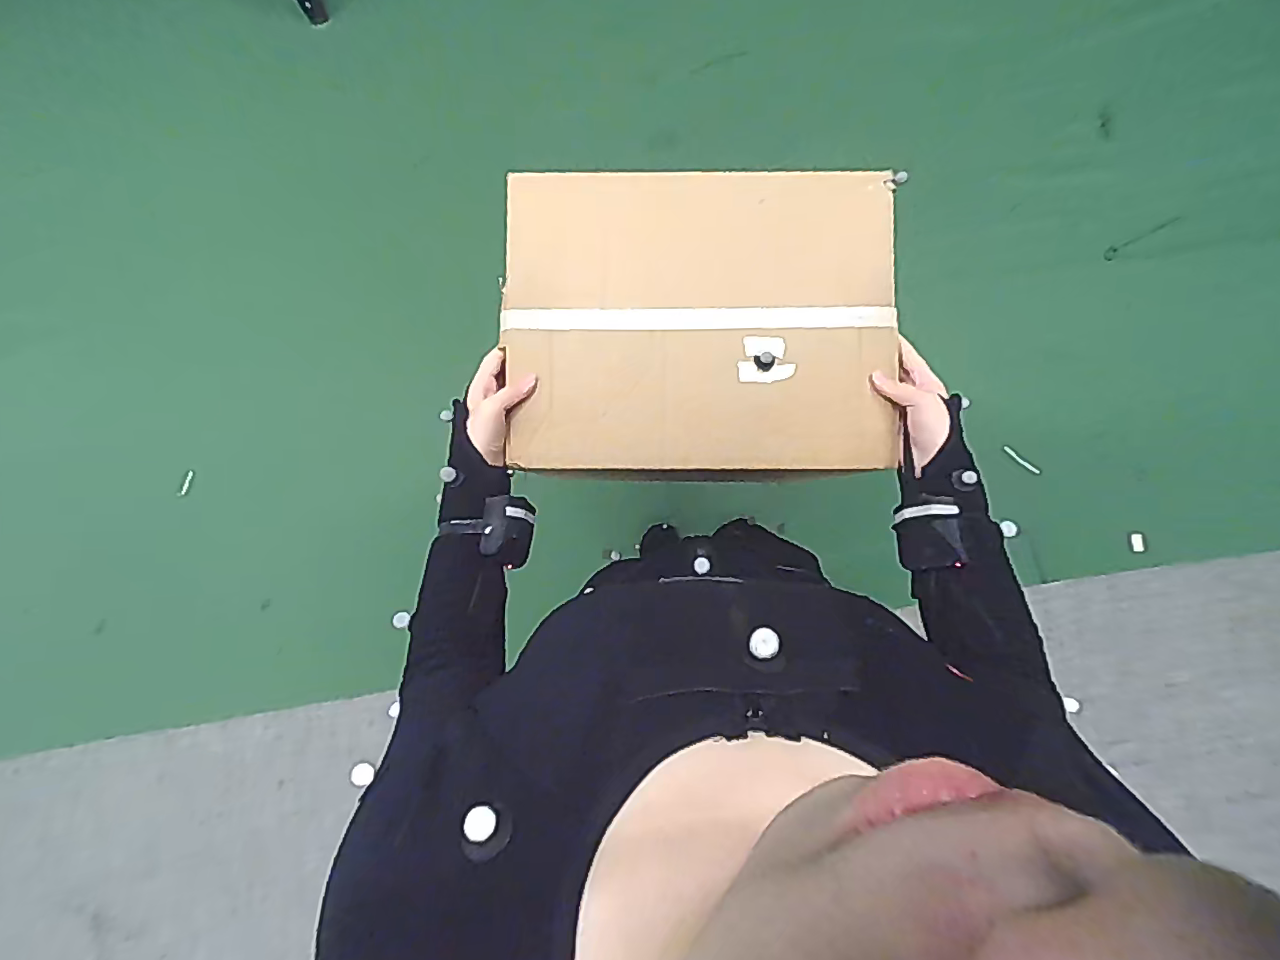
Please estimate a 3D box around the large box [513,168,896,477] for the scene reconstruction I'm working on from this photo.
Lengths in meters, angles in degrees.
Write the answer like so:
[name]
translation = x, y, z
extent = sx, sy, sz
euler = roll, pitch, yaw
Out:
[large box]
translation = 0.064, -0.170, 0.716
extent = 0.408, 0.320, 0.320
euler = 0, 88, 0
